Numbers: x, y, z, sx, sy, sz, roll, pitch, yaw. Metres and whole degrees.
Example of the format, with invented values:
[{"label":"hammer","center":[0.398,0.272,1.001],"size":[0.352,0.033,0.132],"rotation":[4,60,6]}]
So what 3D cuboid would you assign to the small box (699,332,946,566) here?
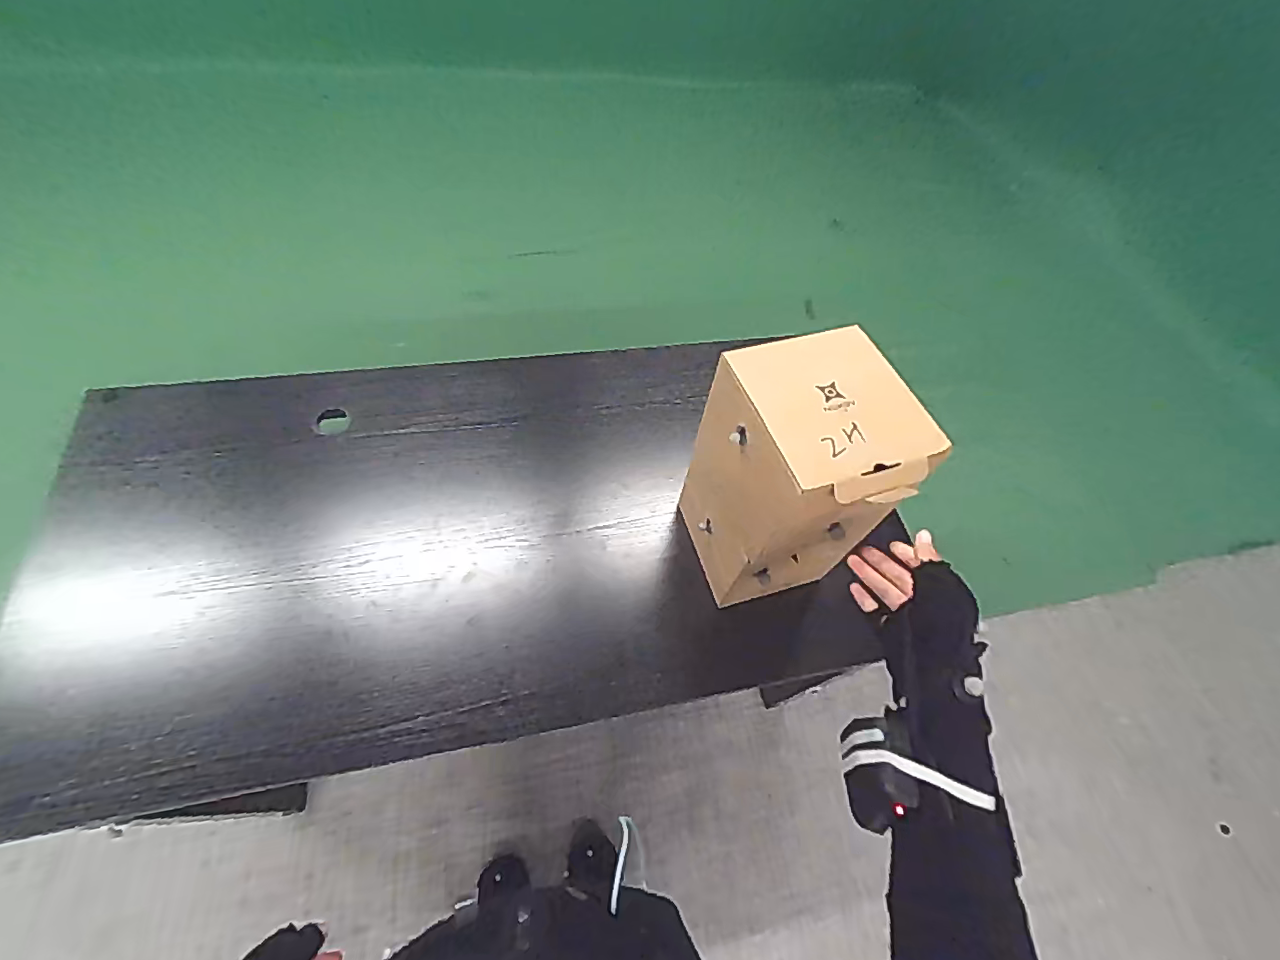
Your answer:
[{"label":"small box","center":[0.180,-0.031,0.599],"size":[0.168,0.176,0.179],"rotation":[-15,61,-14]}]
